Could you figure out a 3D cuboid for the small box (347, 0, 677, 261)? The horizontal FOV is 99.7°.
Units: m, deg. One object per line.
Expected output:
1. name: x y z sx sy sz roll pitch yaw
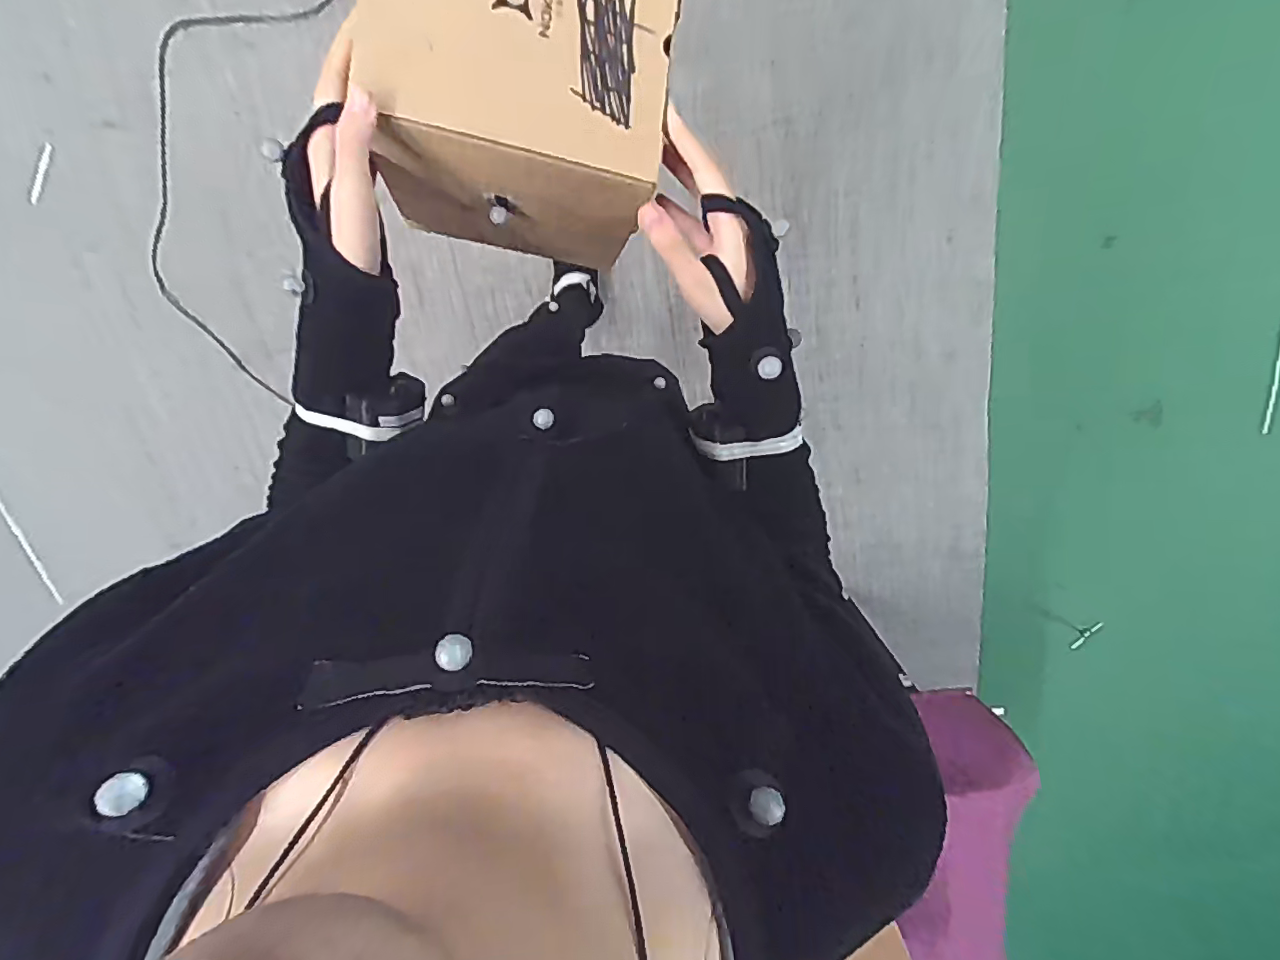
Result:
1. small box: -0.083 -0.276 0.389 0.179 0.176 0.168 8 91 -13
